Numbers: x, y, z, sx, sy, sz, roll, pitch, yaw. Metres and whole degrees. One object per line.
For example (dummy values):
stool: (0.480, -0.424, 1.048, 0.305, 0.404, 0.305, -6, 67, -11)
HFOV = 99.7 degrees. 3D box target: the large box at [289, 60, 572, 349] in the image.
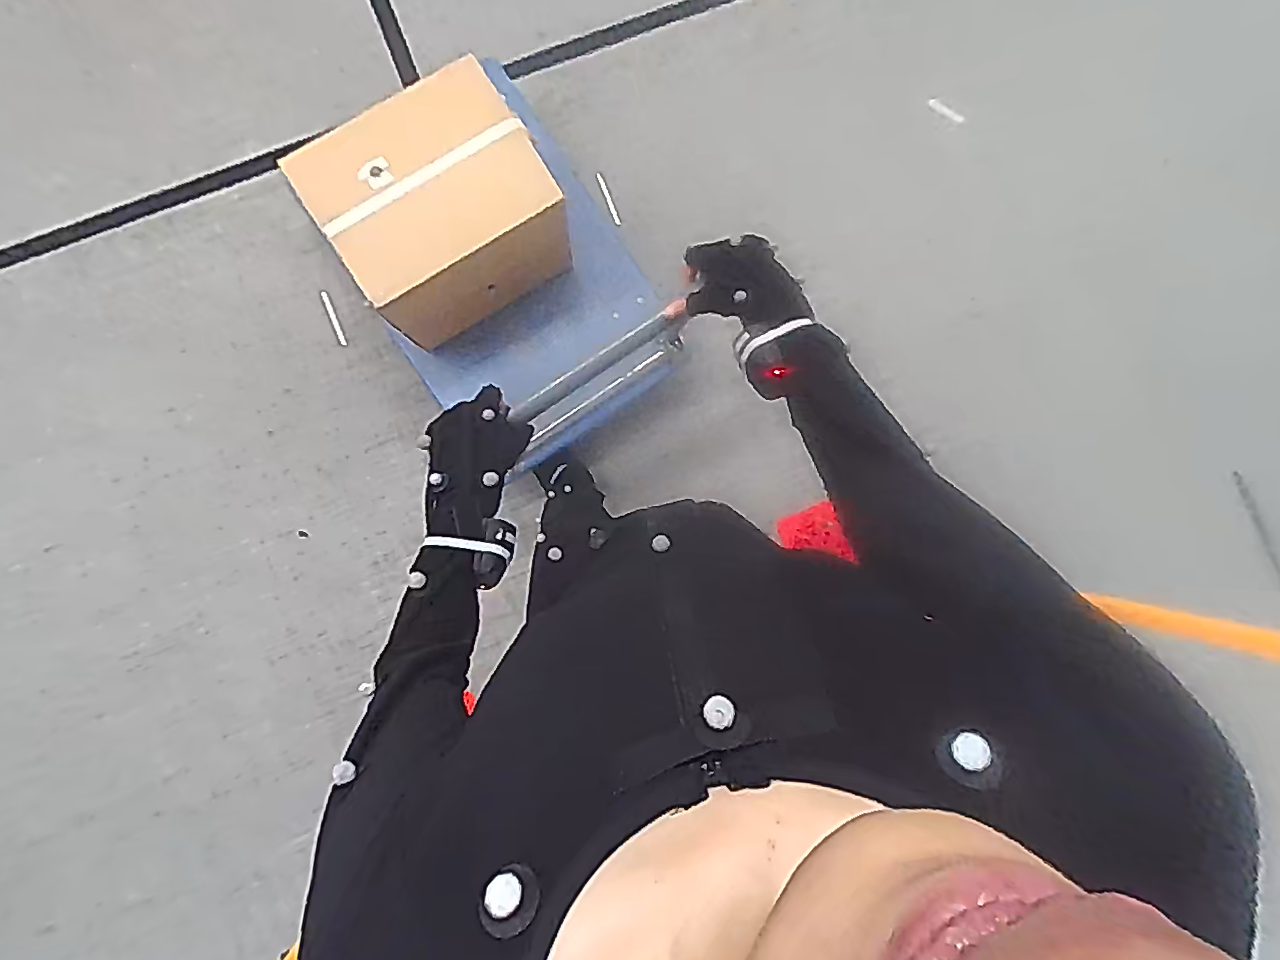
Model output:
large box: (-0.395, -0.536, 1.131, 0.408, 0.320, 0.320, -33, 91, -3)

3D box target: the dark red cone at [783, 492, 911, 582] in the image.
dark red cone: (0.520, 0.149, 1.302, 0.201, 0.394, 0.202, -22, 91, -6)
